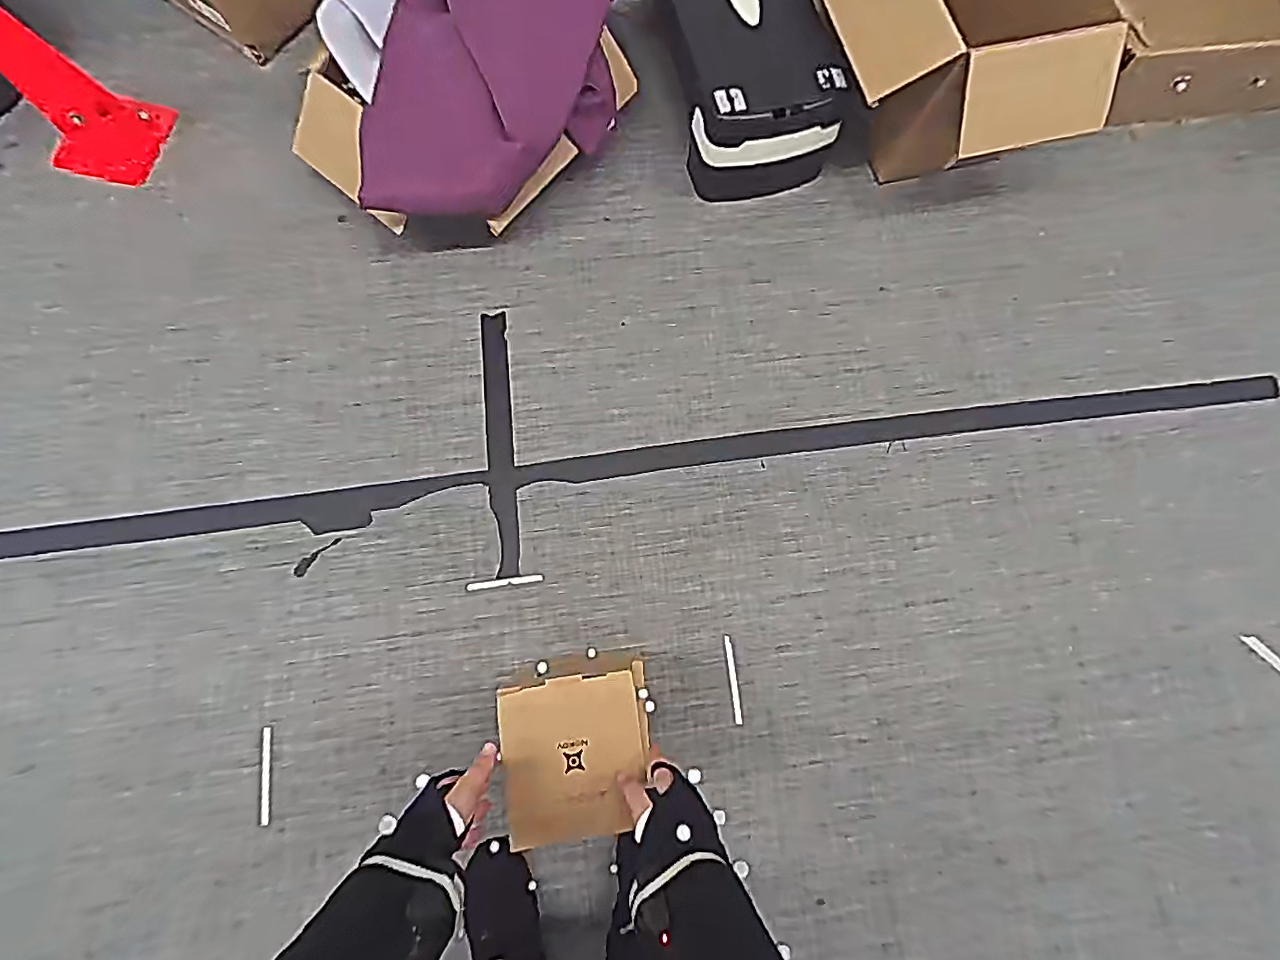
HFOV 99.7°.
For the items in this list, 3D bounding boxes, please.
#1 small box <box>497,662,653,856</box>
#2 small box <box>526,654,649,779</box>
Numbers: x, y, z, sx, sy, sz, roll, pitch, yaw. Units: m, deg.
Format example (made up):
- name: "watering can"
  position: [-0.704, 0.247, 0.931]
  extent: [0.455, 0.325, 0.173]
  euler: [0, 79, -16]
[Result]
- name: "small box"
  position: [-0.080, 0.341, 0.703]
  extent: [0.168, 0.176, 0.179]
  euler: [-9, 80, -3]
- name: "small box"
  position: [-0.081, 0.376, 0.861]
  extent: [0.179, 0.176, 0.168]
  euler: [-4, 78, -4]
